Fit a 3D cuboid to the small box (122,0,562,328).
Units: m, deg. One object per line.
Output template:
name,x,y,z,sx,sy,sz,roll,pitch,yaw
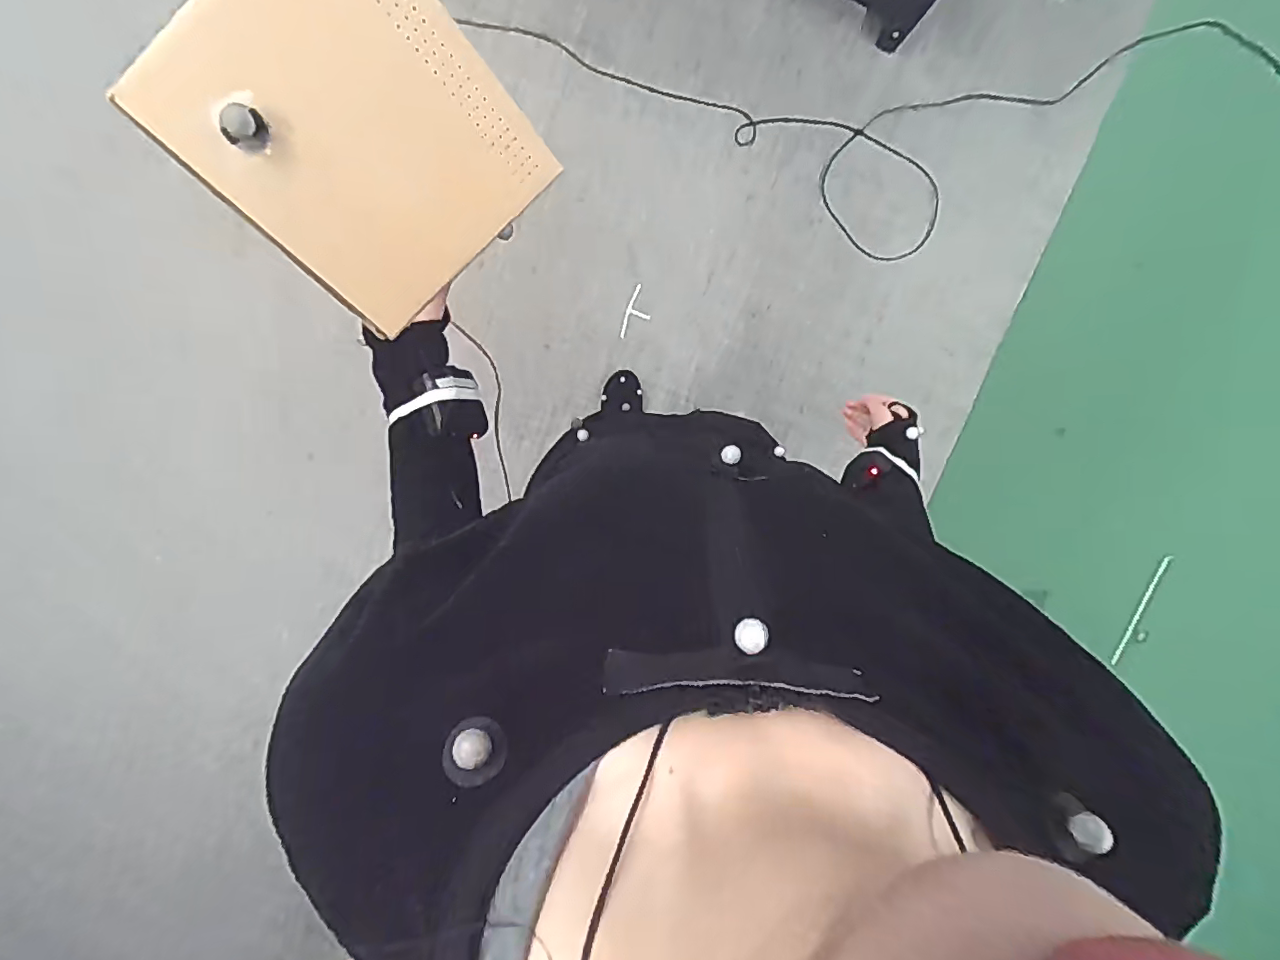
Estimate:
small box,-0.184,-0.246,0.385,0.176,0.168,0.179,-41,124,6
